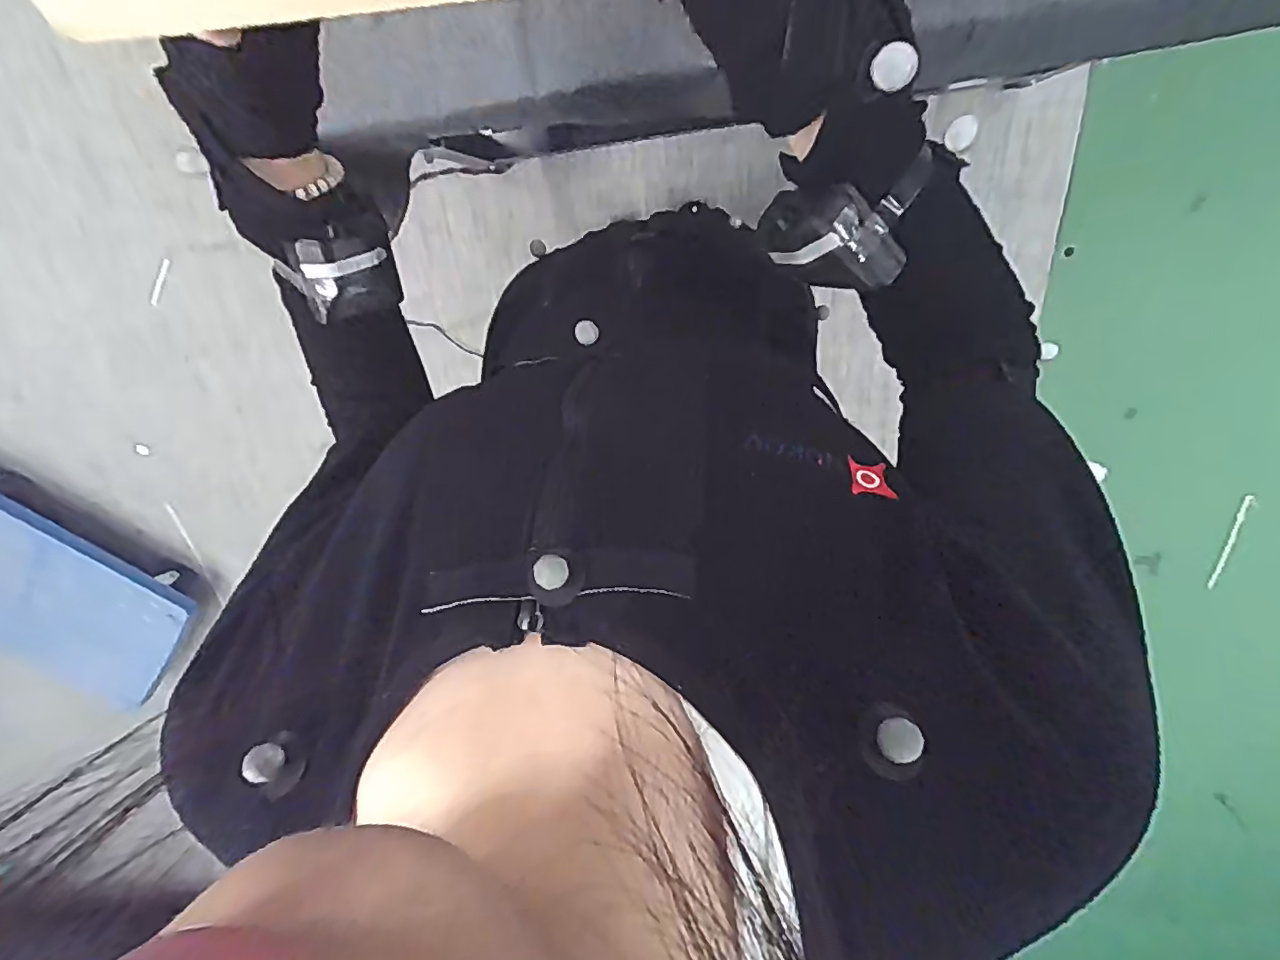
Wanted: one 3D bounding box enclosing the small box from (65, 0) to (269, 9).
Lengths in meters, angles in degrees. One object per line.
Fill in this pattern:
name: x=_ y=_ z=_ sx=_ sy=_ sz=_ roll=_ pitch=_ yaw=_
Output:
small box: x=-0.096 y=-0.261 z=0.158 sx=0.179 sy=0.176 sz=0.168 roll=-4 pitch=140 yaw=0
